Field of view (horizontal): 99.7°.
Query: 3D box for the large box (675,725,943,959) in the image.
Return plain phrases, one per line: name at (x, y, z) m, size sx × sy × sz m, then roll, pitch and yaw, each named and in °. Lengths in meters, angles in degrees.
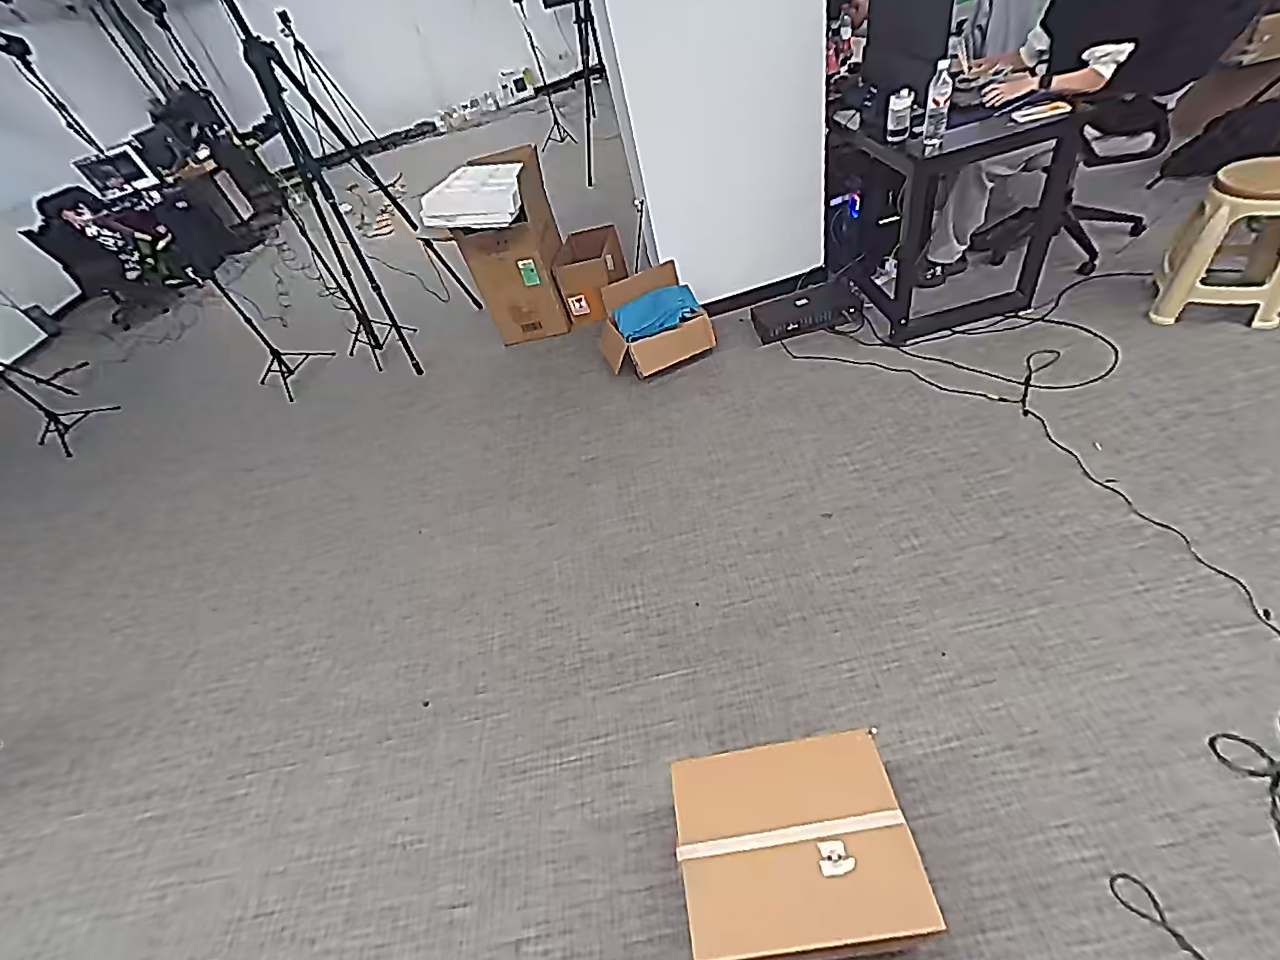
large box at (0.308, 0.738, 1.080) m, size 0.408 × 0.320 × 0.320 m, roll -13°, pitch 45°, yaw 5°
